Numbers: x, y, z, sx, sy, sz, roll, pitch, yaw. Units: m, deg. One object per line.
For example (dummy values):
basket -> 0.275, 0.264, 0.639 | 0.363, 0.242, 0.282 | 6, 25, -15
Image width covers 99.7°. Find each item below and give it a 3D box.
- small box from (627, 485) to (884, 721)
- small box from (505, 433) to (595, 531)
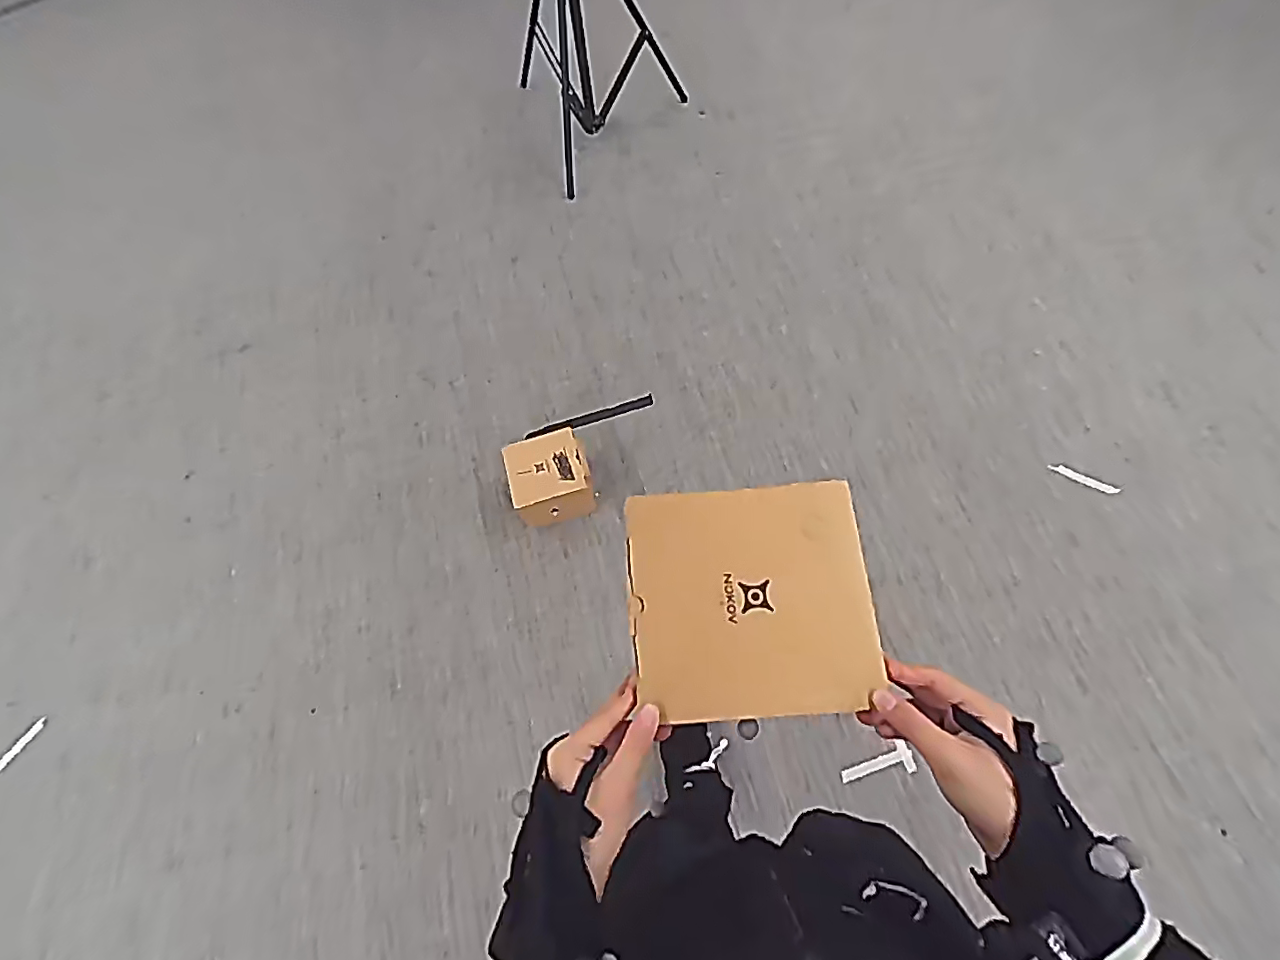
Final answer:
small box -> 0.085, 0.109, 0.479 | 0.179, 0.176, 0.168 | -5, 73, 3
small box -> -0.214, 0.010, 1.339 | 0.179, 0.176, 0.168 | -16, 68, -1
